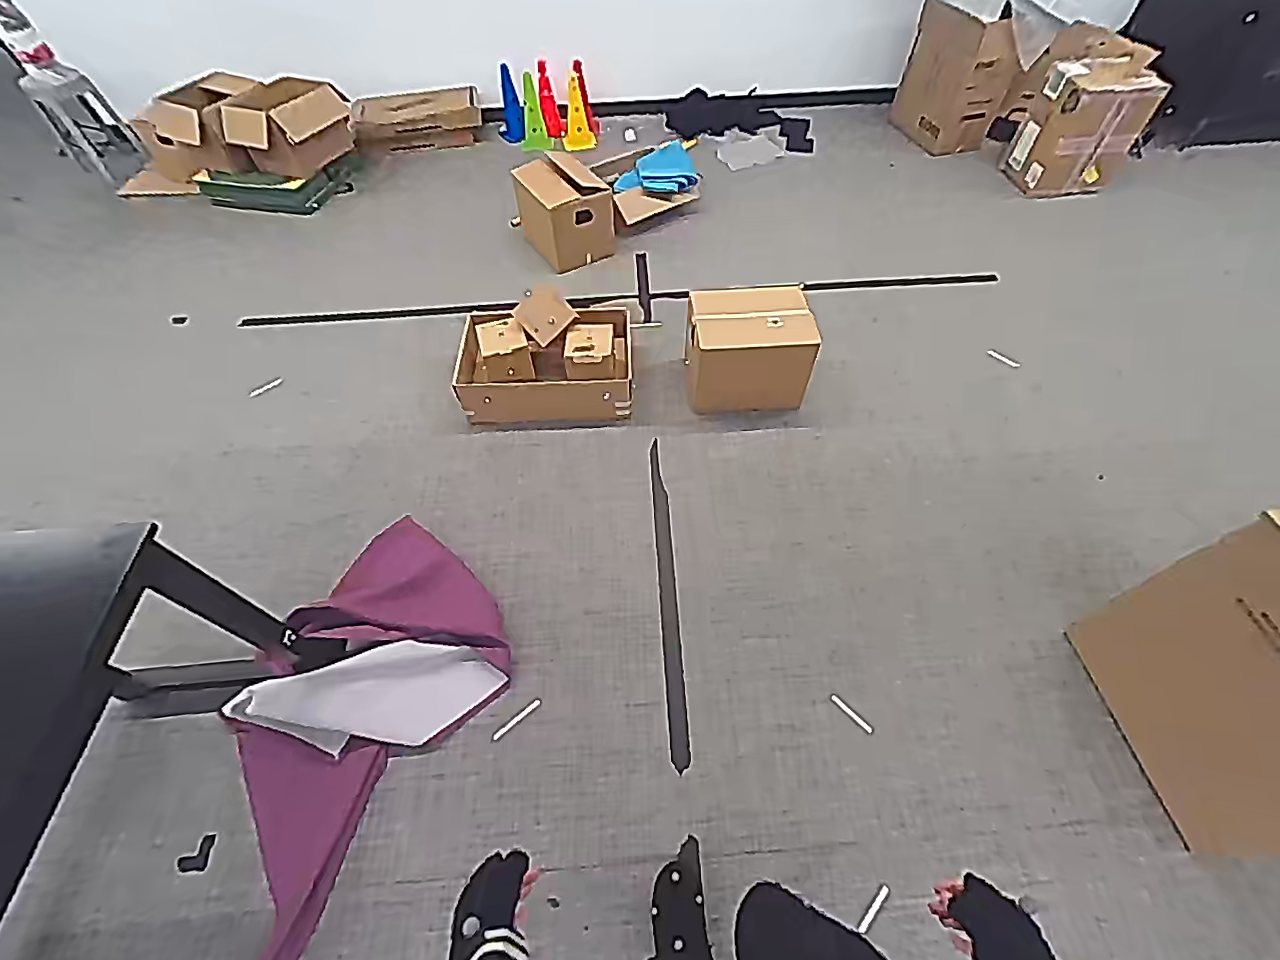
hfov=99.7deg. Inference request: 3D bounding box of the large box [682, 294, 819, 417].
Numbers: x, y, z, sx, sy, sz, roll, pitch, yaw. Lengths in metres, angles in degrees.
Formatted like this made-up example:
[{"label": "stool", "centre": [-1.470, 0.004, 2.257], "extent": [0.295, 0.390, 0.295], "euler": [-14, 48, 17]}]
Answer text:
[{"label": "large box", "centre": [0.381, -0.452, 1.978], "extent": [0.408, 0.320, 0.320], "euler": [-3, 55, -3]}]
